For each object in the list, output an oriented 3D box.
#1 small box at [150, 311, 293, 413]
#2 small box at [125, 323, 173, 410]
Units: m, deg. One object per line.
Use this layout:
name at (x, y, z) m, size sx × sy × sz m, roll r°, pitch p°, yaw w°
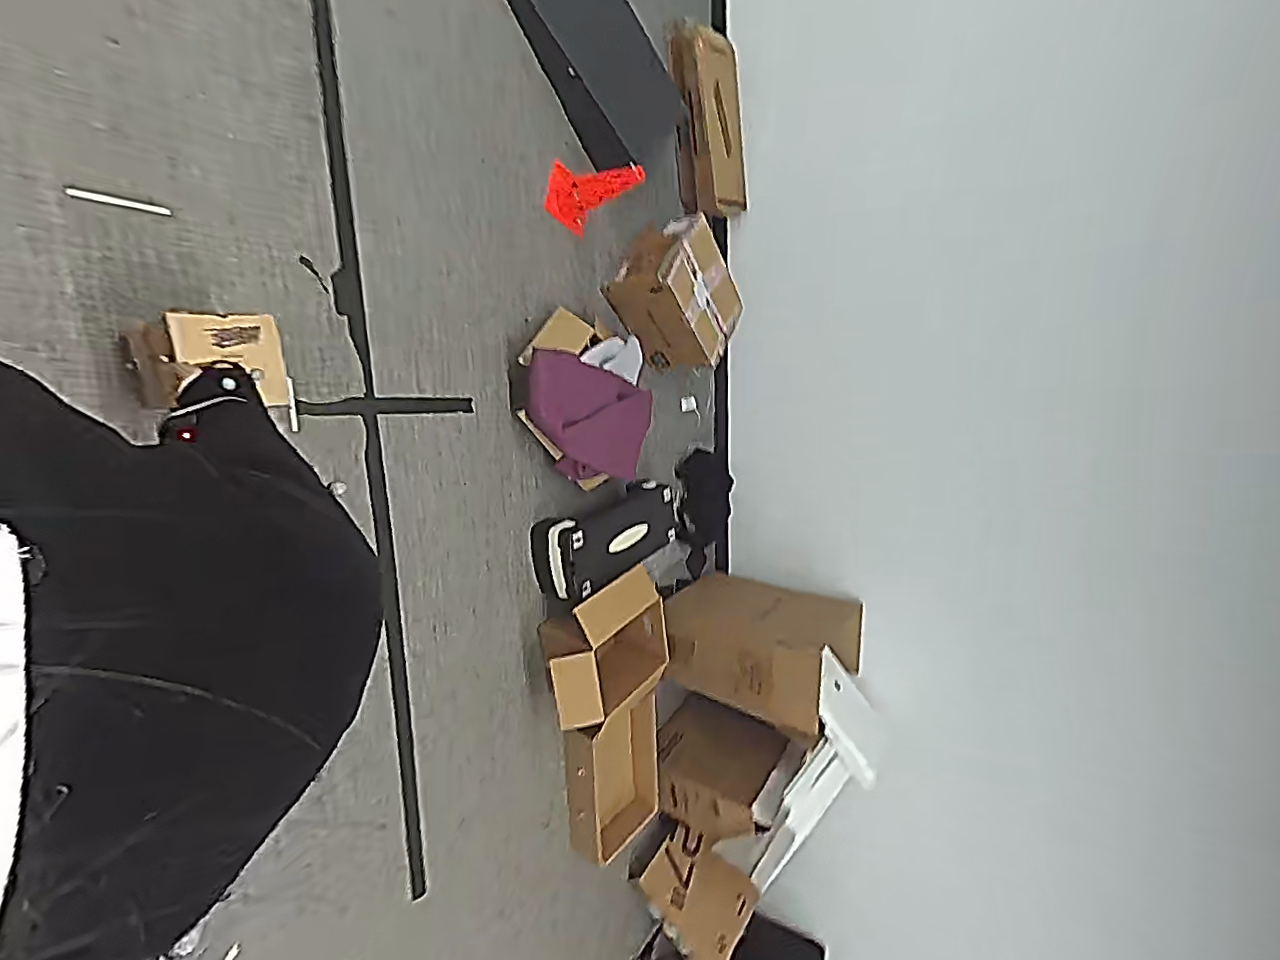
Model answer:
small box at (-0.811, -0.225, 1.047) m, size 0.168 × 0.176 × 0.179 m, roll -19°, pitch 109°, yaw -49°
small box at (-0.942, -0.243, 1.146) m, size 0.179 × 0.176 × 0.168 m, roll -21°, pitch 110°, yaw -47°
